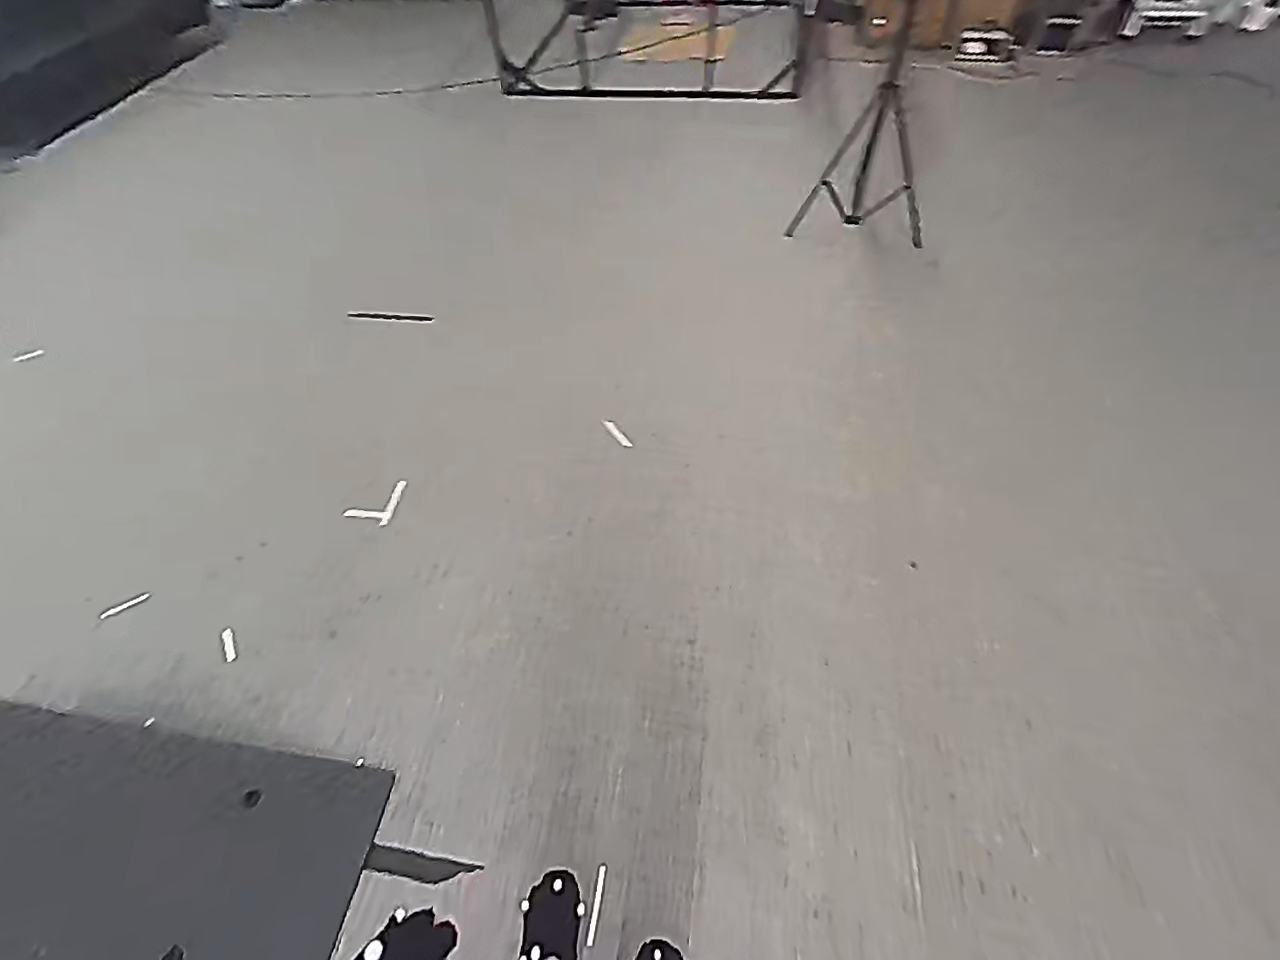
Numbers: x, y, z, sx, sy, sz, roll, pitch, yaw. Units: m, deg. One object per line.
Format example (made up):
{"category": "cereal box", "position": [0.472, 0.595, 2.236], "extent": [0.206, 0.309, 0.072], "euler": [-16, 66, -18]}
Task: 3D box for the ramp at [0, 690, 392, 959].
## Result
{"category": "ramp", "position": [-1.122, 0.799, 1.179], "extent": [0.991, 0.206, 0.509], "euler": [5, 54, 6]}
